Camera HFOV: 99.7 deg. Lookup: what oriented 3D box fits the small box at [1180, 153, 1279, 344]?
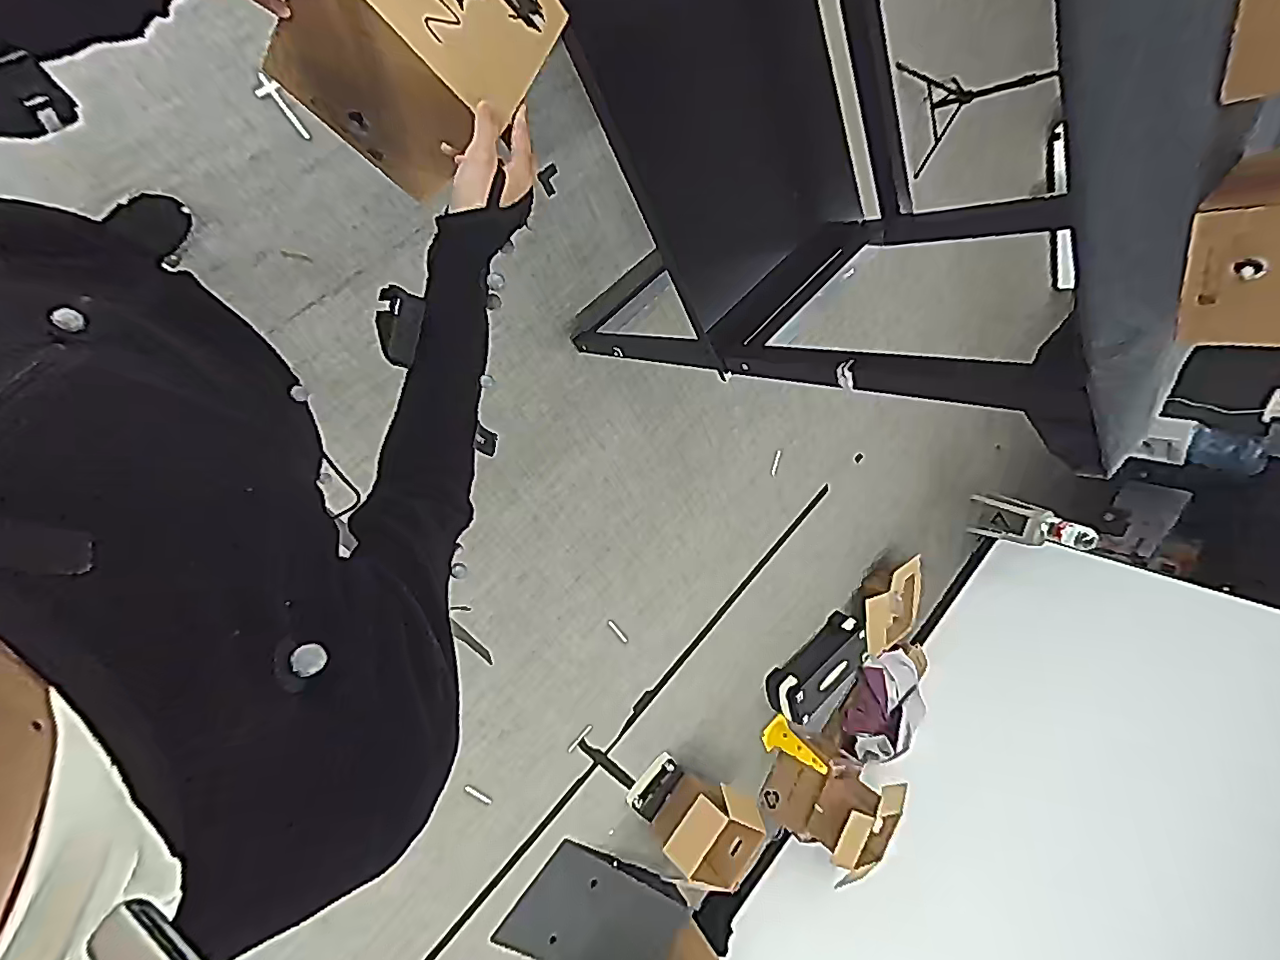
[{"bbox_3d":[0.764,-0.268,0.611,0.179,0.176,0.168,-40,124,-20],"label":"small box"}]
